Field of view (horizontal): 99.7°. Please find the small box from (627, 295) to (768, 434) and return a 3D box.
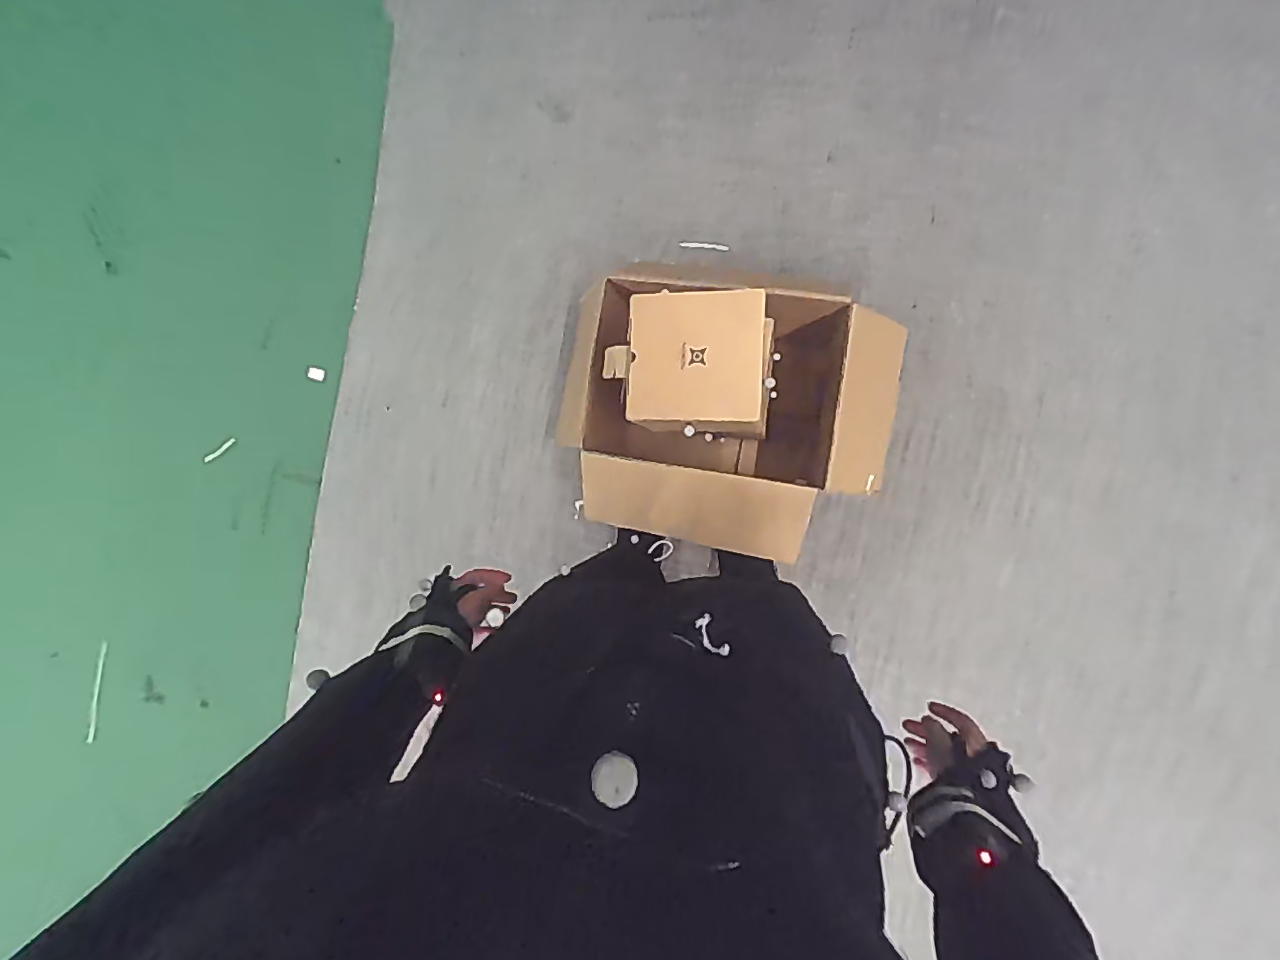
[{"bbox_3d":[0.089,-0.155,0.768,0.179,0.176,0.168,3,91,14],"label":"small box"}]
